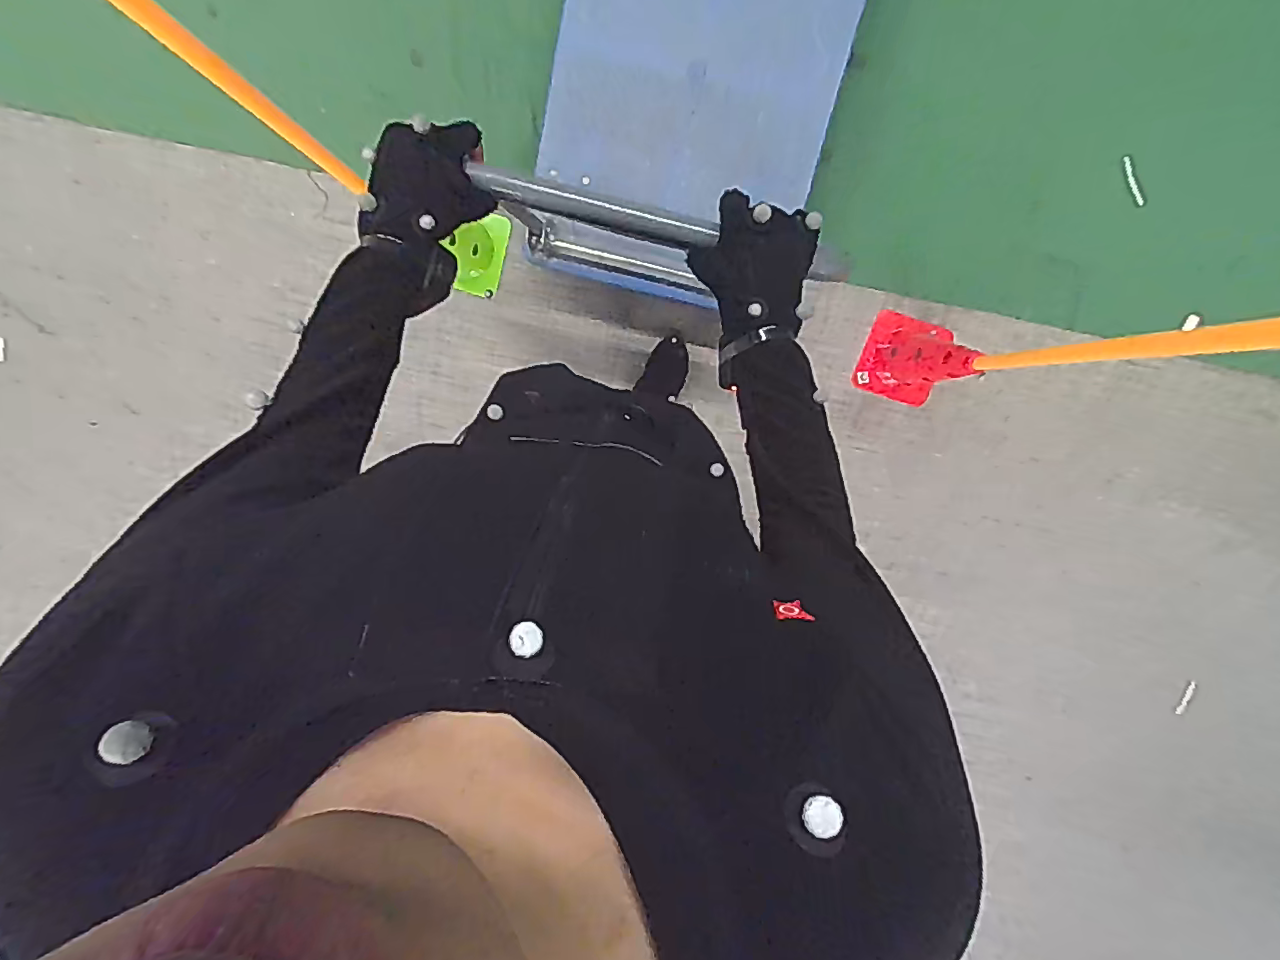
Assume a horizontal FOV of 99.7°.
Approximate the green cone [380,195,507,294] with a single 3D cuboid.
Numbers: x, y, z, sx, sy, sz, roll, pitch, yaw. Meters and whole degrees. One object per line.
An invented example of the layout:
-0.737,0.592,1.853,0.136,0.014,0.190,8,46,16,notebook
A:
-0.456,-0.553,1.194,0.202,0.368,0.200,17,104,0,green cone
